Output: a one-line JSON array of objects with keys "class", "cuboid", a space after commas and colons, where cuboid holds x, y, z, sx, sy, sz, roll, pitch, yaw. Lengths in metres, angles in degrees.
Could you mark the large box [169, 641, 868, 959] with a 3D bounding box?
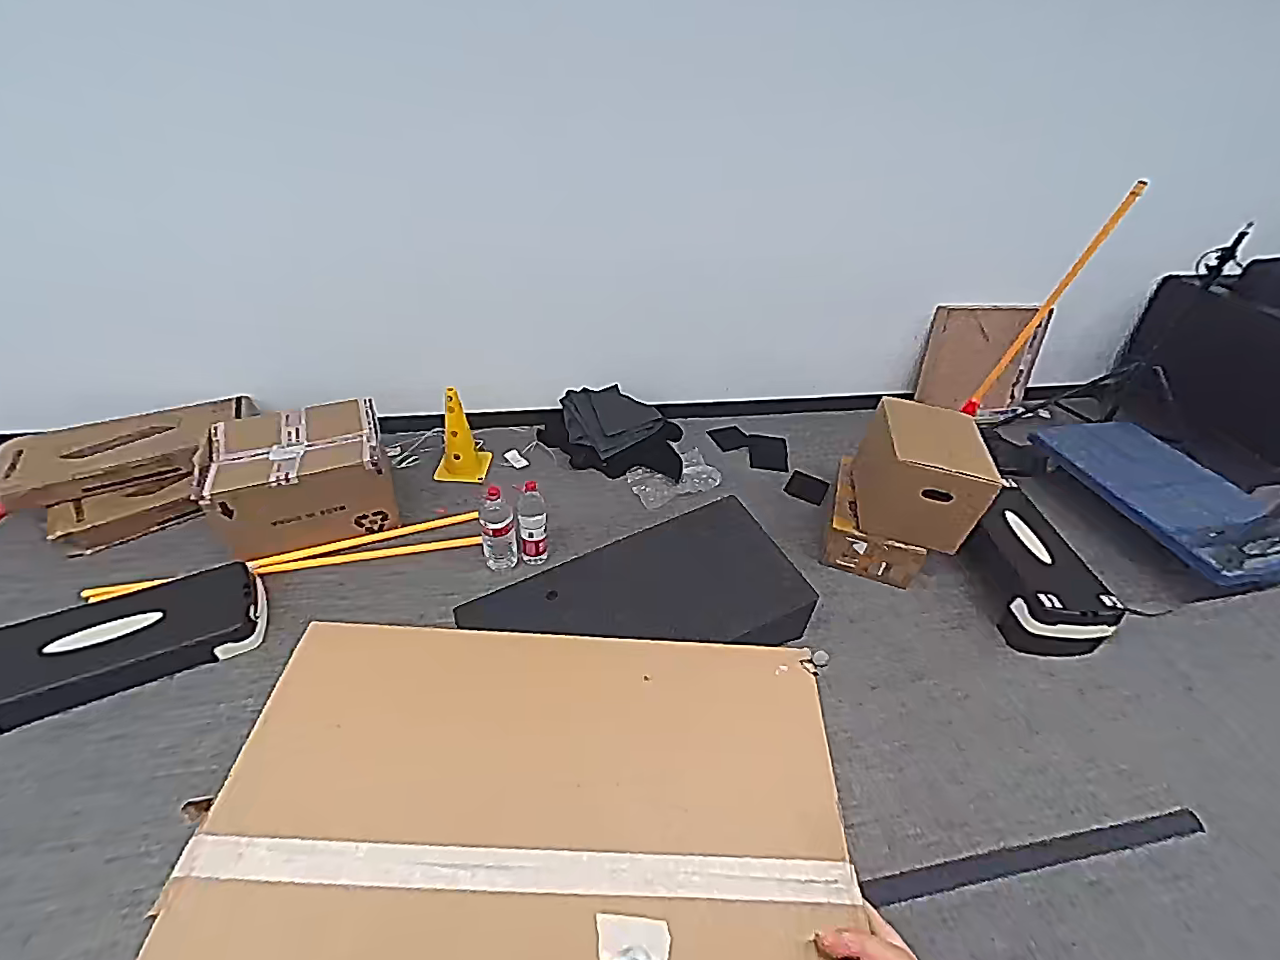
[{"class": "large box", "cuboid": [-0.073, 0.353, 0.440, 0.408, 0.320, 0.320, 4, 46, -2]}]
